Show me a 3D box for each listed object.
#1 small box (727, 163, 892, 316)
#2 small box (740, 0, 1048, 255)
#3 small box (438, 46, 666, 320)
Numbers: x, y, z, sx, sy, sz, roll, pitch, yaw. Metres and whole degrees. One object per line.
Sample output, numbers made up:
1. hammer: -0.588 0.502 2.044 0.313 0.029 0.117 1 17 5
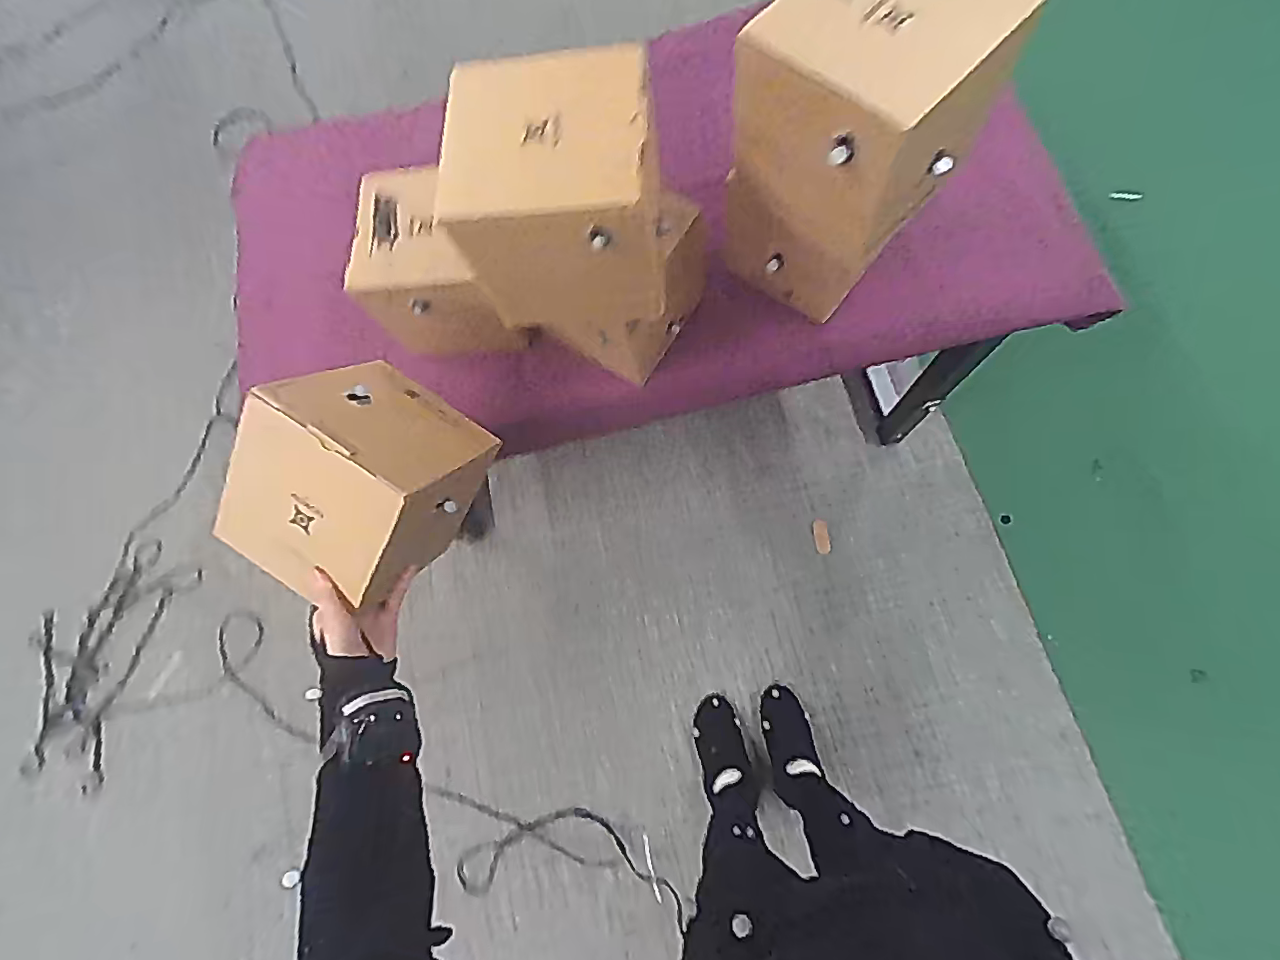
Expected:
1. small box: 0.227 -0.343 0.681 0.168 0.176 0.179 37 83 15
2. small box: 0.213 -0.349 0.512 0.168 0.176 0.179 -44 73 -5
3. small box: -0.069 -0.272 0.531 0.179 0.176 0.168 -1 75 6
